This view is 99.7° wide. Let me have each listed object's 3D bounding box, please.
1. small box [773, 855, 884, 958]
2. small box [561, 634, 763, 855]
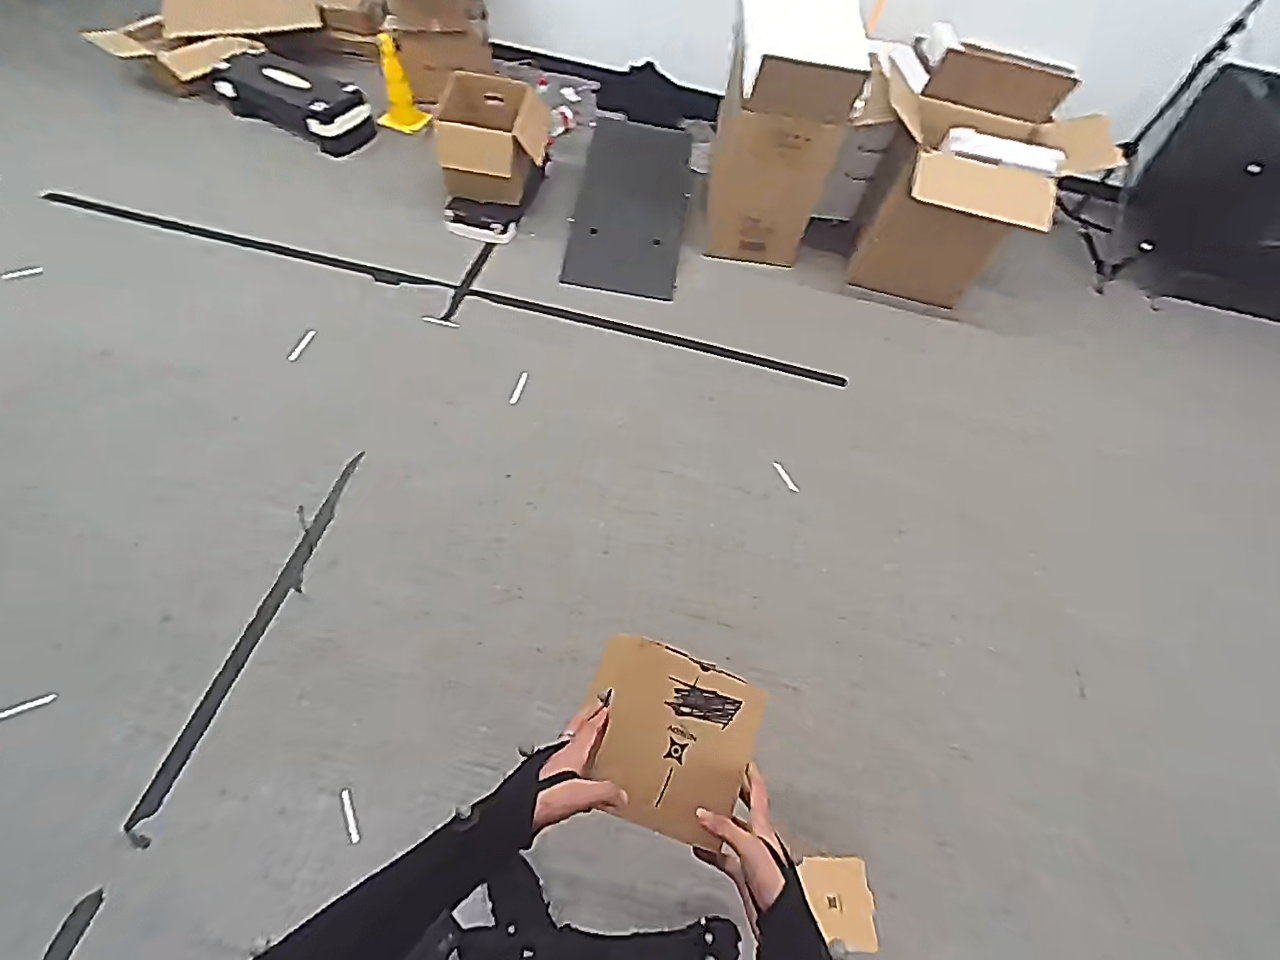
[{"bbox_3d":[0.419,0.961,1.230,0.179,0.176,0.168,5,58,-4],"label":"small box"},{"bbox_3d":[0.016,0.296,0.647,0.168,0.176,0.179,26,71,-8],"label":"small box"}]
